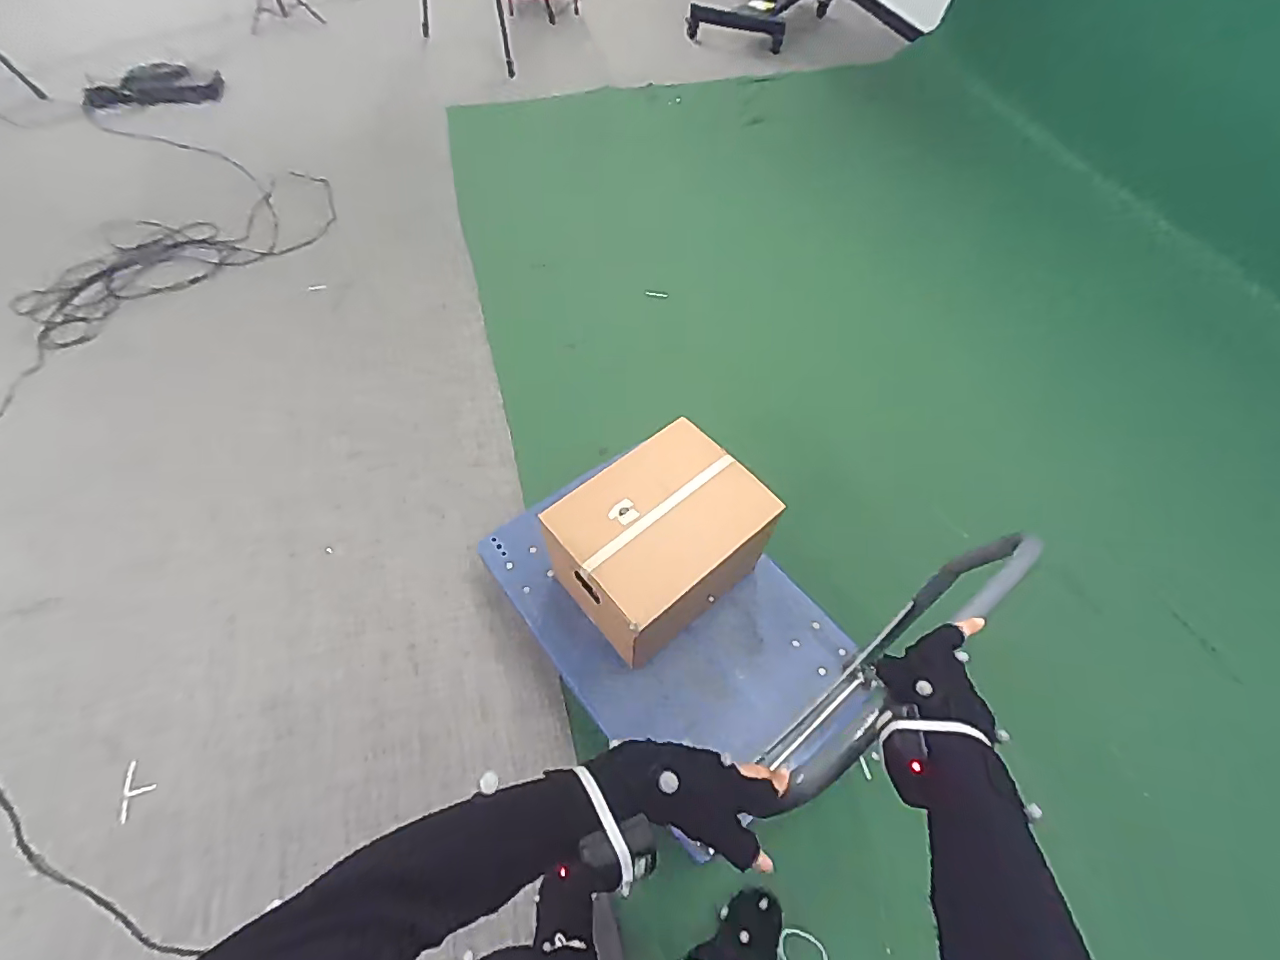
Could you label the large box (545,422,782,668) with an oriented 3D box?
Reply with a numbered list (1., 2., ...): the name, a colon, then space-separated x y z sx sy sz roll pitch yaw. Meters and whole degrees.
1. large box: 0.049 0.151 1.232 0.408 0.320 0.320 -36 65 -21
